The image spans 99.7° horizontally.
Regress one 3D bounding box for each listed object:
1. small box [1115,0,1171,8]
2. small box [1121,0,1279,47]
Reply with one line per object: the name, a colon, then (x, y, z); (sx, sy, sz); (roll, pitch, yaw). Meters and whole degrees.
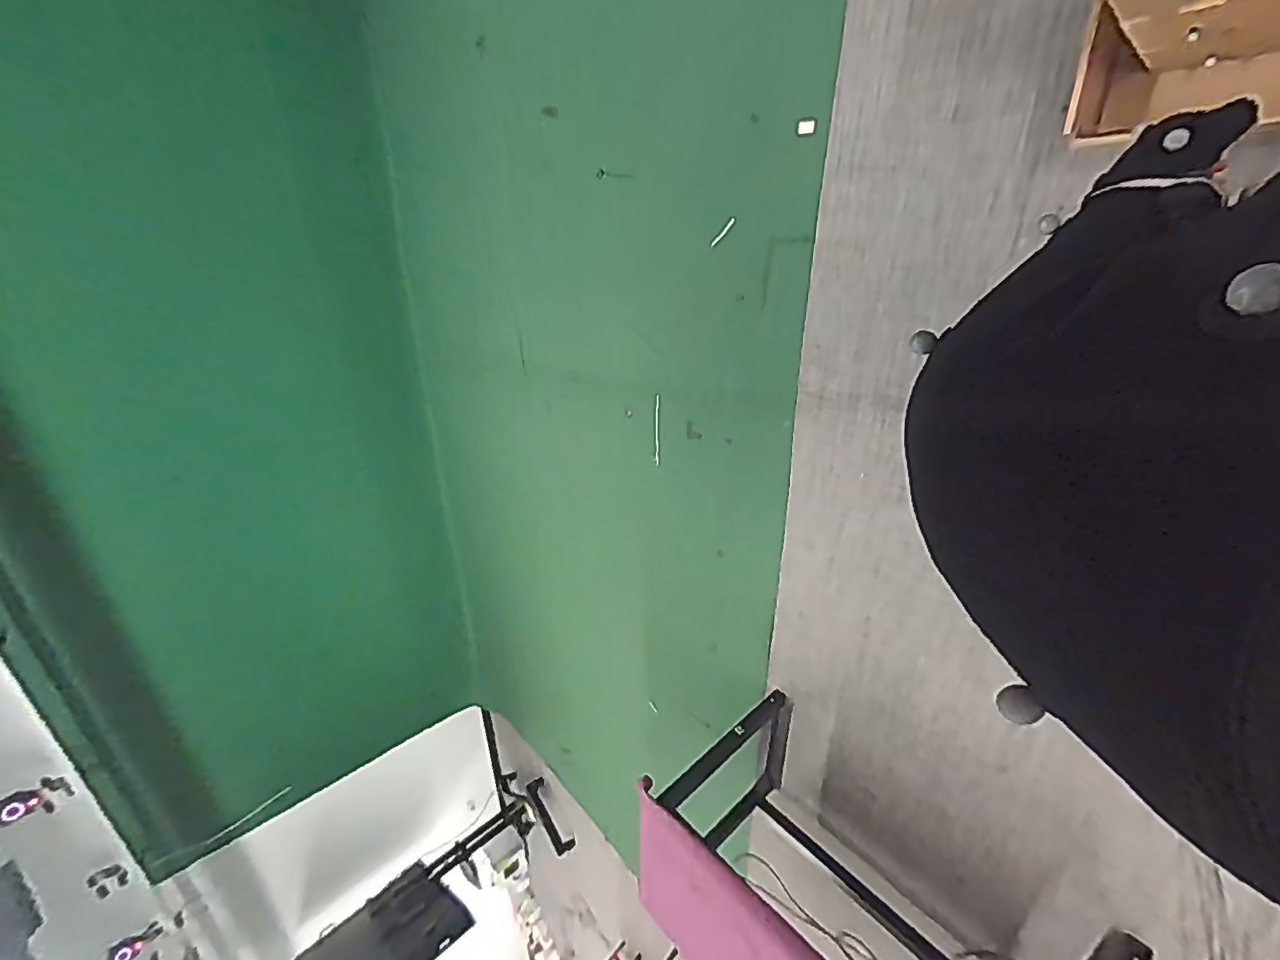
small box: (0.651, -0.669, 0.604); (0.168, 0.176, 0.179); (19, 120, 43)
small box: (0.772, -0.710, 0.707); (0.168, 0.176, 0.179); (21, 122, 42)
